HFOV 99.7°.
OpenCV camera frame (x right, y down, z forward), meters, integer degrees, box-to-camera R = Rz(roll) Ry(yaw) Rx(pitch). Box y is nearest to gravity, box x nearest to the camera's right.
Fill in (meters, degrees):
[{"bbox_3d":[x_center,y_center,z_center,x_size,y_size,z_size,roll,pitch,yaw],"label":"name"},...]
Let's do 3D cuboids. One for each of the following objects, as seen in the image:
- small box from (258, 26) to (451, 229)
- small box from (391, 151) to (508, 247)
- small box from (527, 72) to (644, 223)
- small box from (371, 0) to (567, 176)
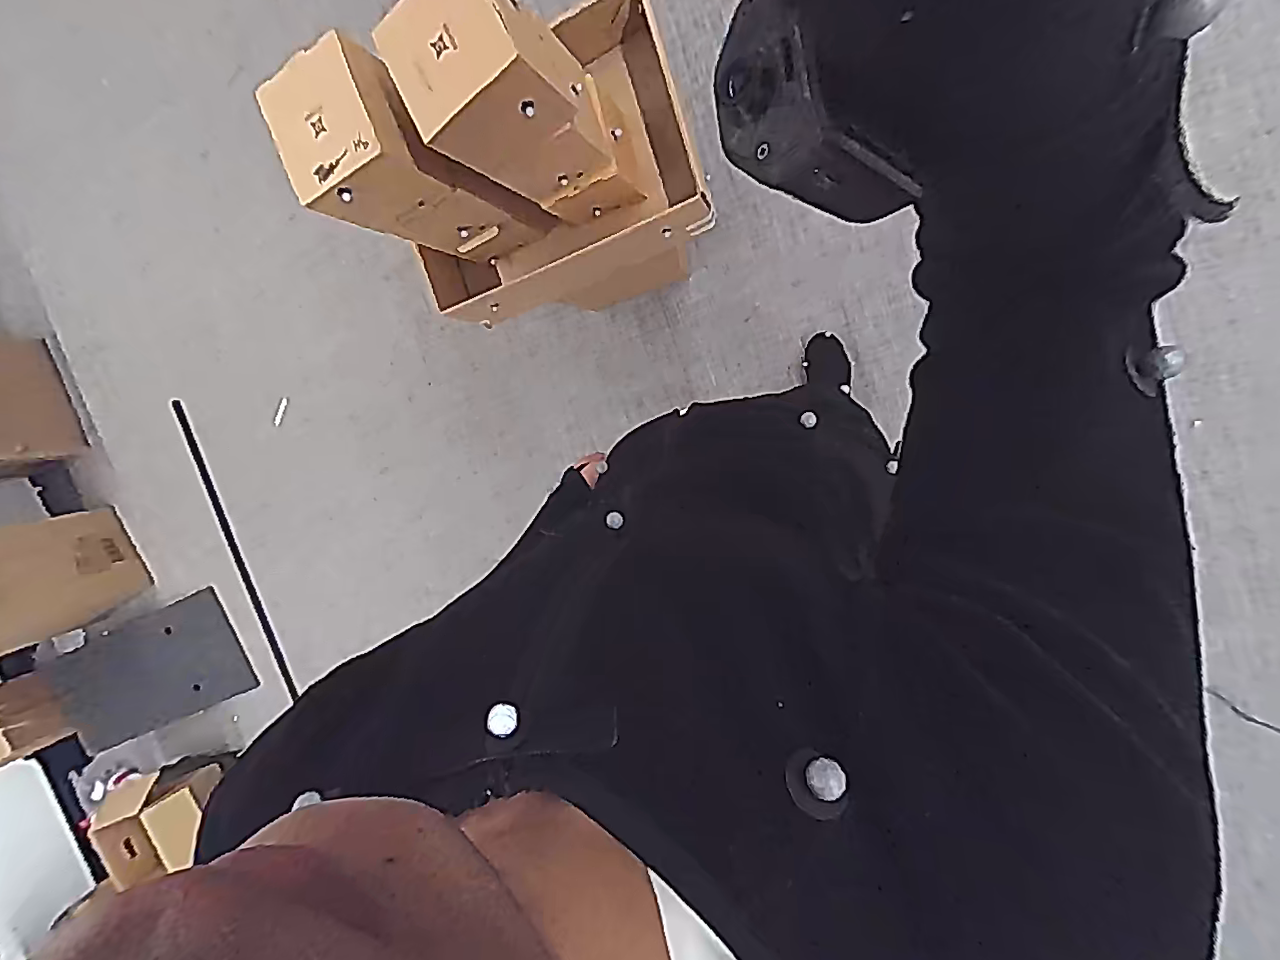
[{"bbox_3d":[-0.428,-0.522,0.832,0.168,0.176,0.179,-18,94,21],"label":"small box"},{"bbox_3d":[-0.373,-0.555,0.985,0.168,0.176,0.179,-18,95,20],"label":"small box"},{"bbox_3d":[-0.109,-0.636,1.061,0.168,0.176,0.179,-13,98,23],"label":"small box"},{"bbox_3d":[-0.224,-0.573,0.760,0.179,0.176,0.168,-26,91,23],"label":"small box"}]
